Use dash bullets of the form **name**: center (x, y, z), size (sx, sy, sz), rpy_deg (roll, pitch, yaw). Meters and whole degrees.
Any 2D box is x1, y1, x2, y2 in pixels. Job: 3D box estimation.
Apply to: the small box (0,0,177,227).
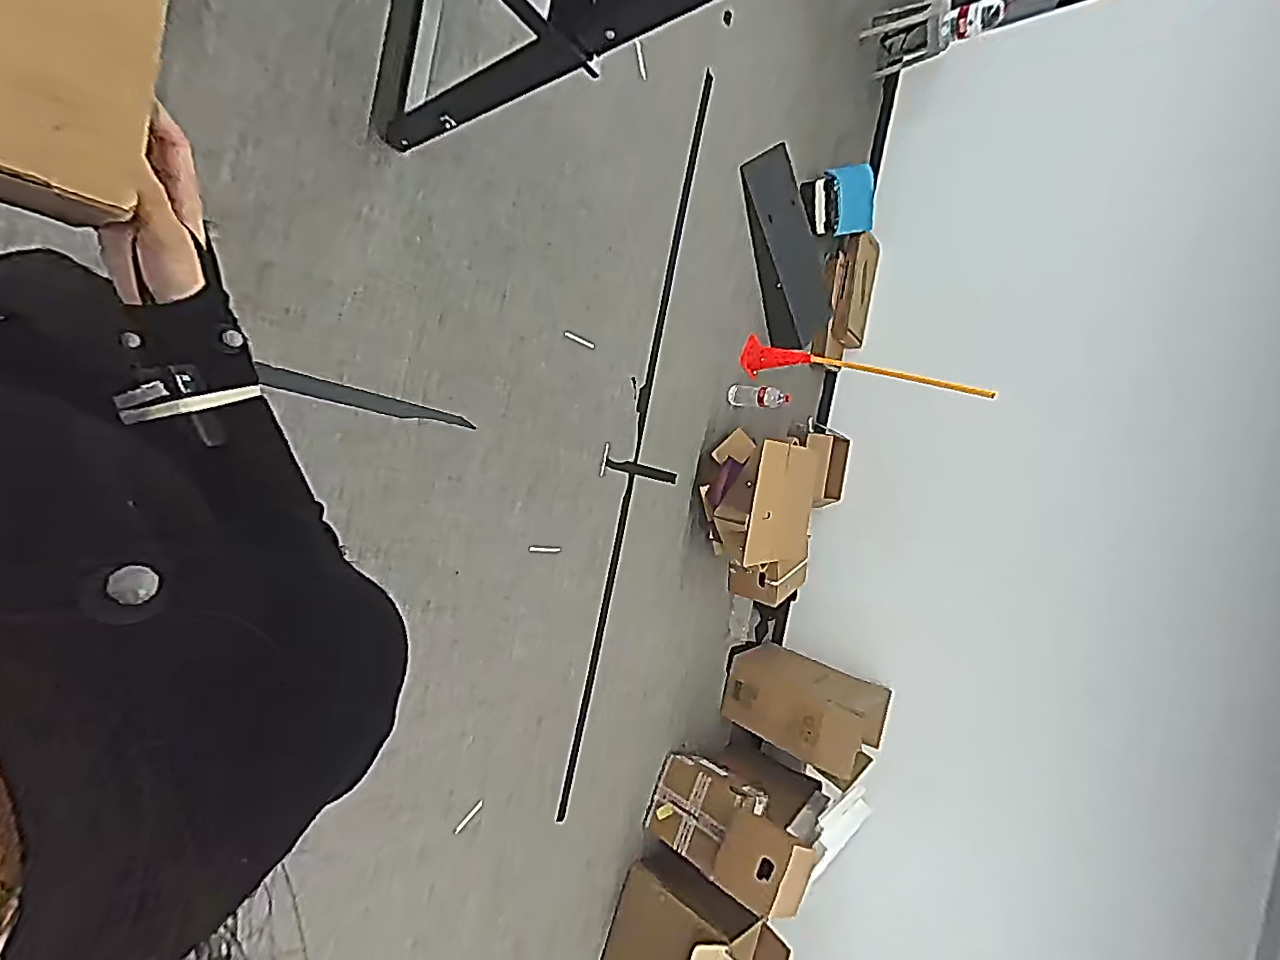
- **small box**: center (-0.356, -0.245, 0.264), size (0.168, 0.176, 0.179), rpy_deg (7, 99, -54)
